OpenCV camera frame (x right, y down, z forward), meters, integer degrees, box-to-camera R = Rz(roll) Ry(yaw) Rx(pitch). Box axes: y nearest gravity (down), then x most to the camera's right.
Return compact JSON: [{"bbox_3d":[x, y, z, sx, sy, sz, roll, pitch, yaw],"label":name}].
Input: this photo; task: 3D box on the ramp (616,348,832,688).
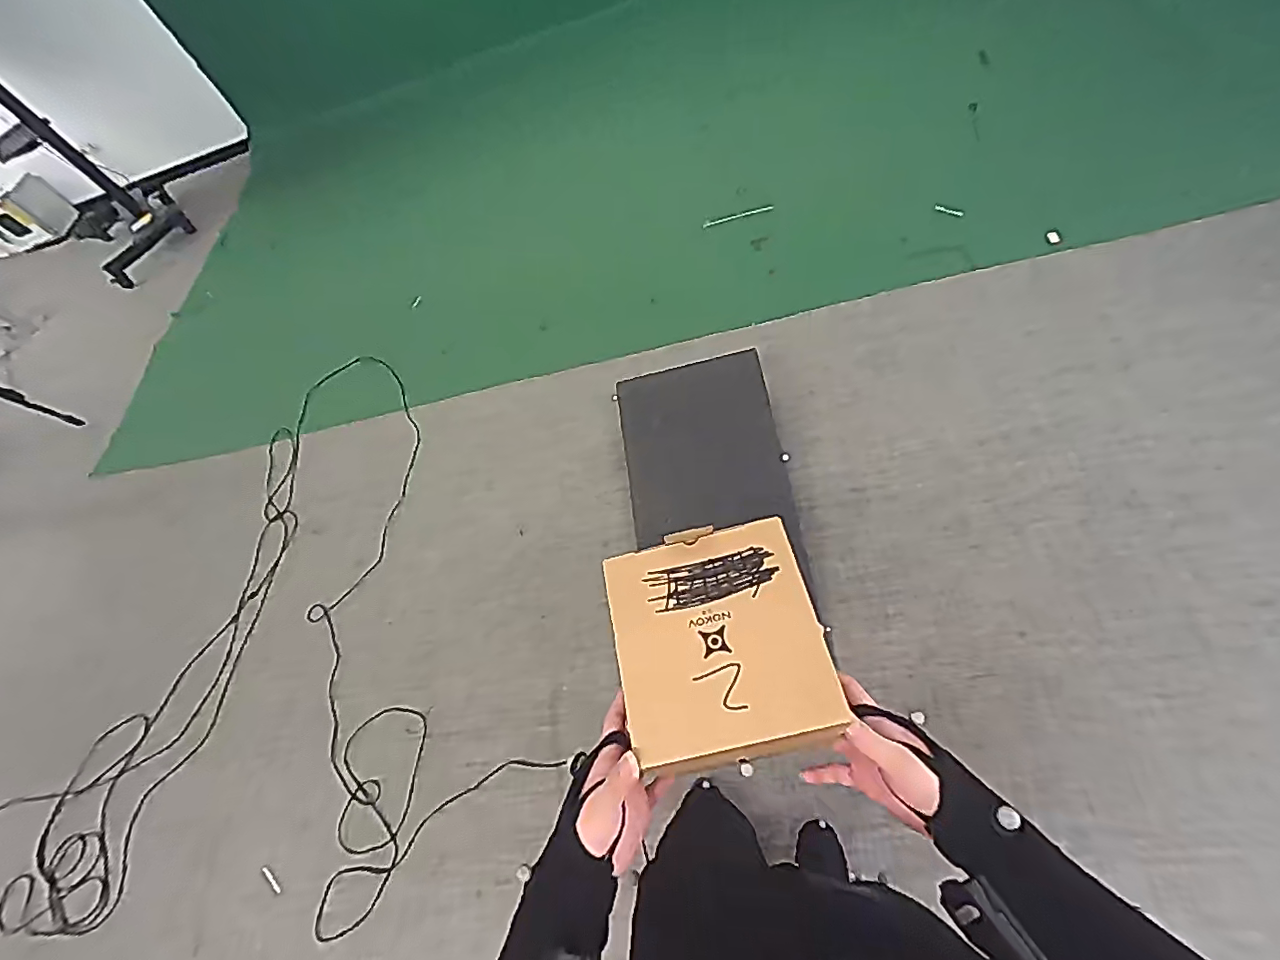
[{"bbox_3d":[0.219,0.076,1.650,0.509,0.206,0.991,-13,59,9],"label":"ramp"}]
